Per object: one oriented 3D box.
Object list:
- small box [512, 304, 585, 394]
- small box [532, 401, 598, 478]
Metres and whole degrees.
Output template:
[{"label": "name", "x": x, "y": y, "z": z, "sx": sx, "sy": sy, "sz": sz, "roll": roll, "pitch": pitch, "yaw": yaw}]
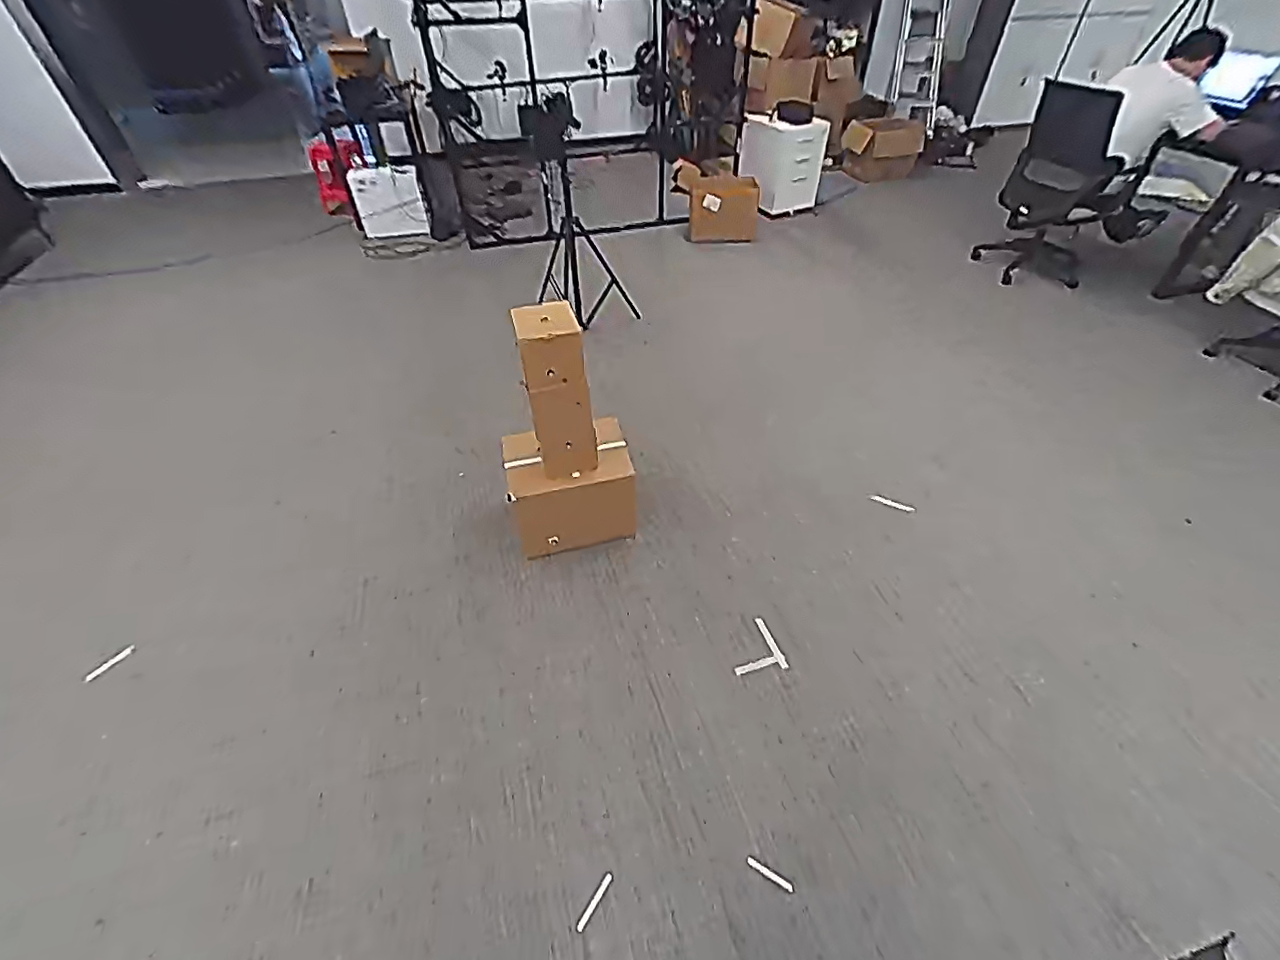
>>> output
[{"label": "small box", "x": -0.253, "y": -0.363, "z": 1.504, "sx": 0.168, "sy": 0.176, "sz": 0.179, "roll": -13, "pitch": 47, "yaw": -12}, {"label": "small box", "x": -0.237, "y": -0.127, "z": 1.730, "sx": 0.179, "sy": 0.176, "sz": 0.168, "roll": -13, "pitch": 47, "yaw": -13}]
